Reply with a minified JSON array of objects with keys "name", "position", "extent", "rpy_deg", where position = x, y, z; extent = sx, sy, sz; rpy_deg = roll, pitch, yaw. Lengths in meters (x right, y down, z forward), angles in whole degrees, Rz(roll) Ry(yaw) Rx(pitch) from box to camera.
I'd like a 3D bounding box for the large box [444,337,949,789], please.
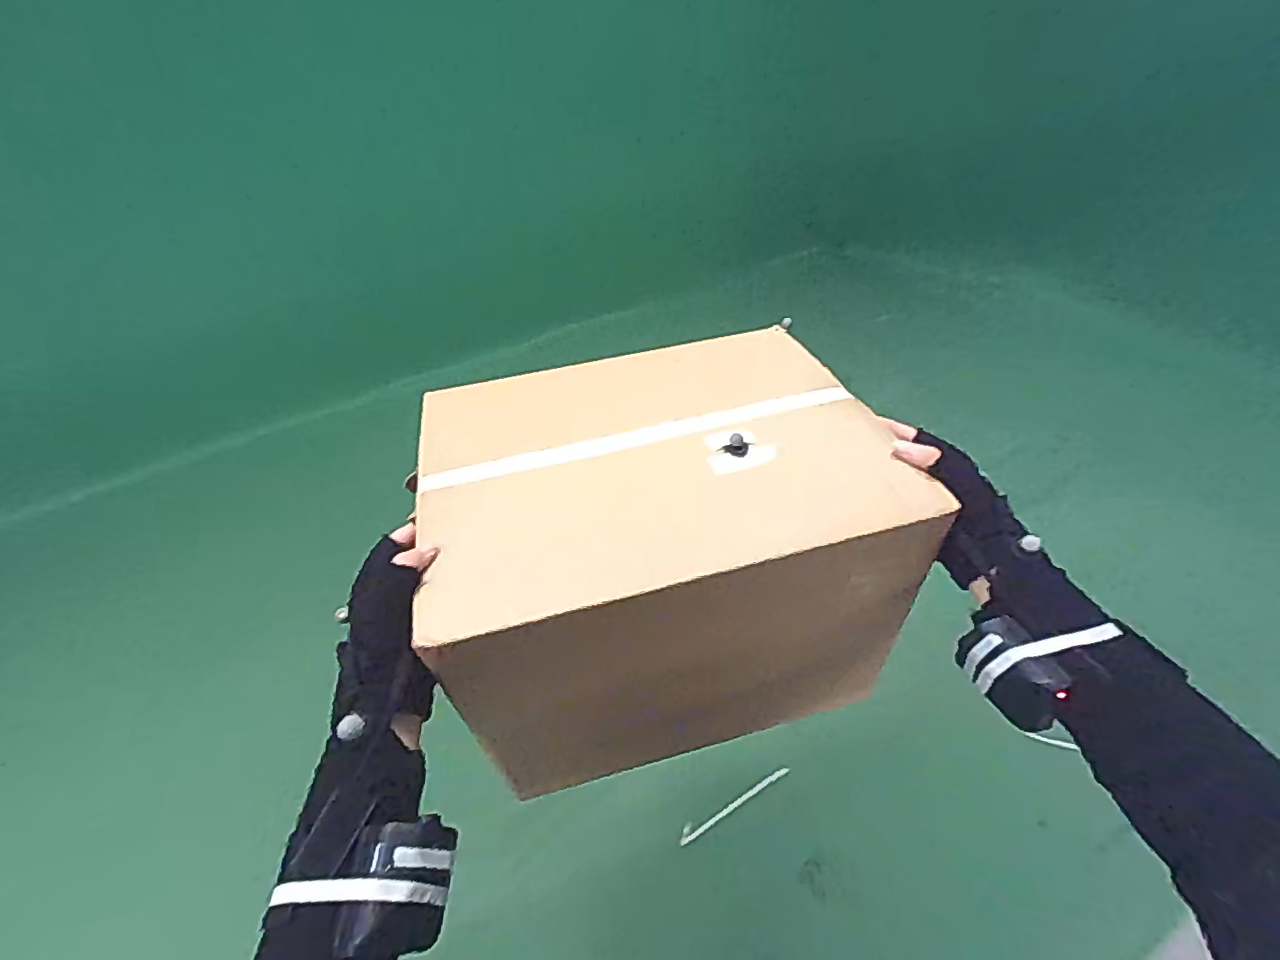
[{"name":"large box","position":[0.026,0.079,0.604],"extent":[0.408,0.320,0.320],"rpy_deg":[-12,44,-9]}]
